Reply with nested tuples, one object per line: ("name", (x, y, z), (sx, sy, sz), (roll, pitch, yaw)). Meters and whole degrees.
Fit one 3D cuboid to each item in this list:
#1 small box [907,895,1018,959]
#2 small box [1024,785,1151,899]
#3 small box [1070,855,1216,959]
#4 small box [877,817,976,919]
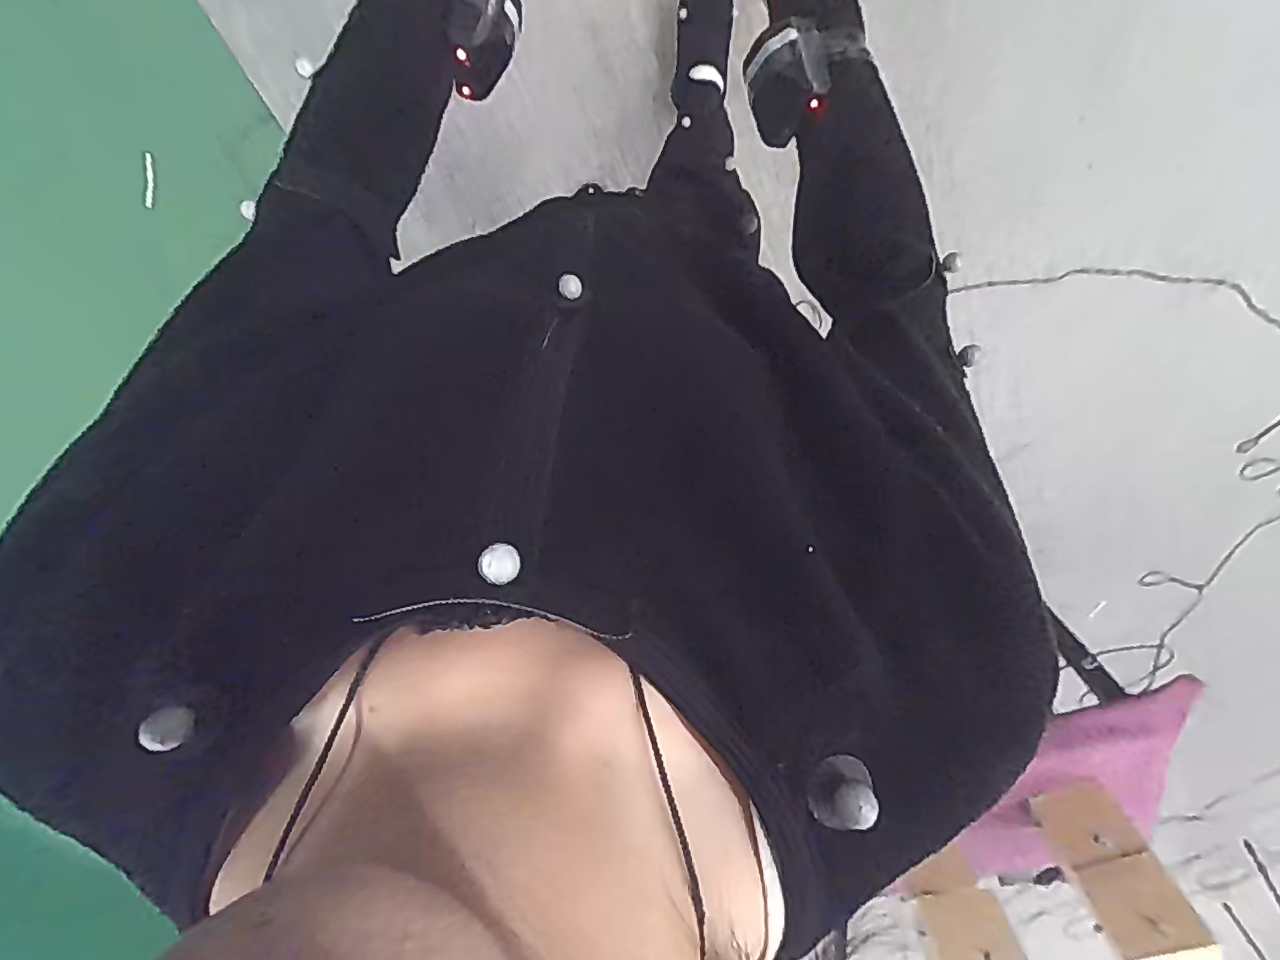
("small box", (0.737, 1.072, 1.227), (0.179, 0.176, 0.168), (-9, 122, 4))
("small box", (1.076, 0.871, 1.308), (0.179, 0.176, 0.168), (-24, 119, 13))
("small box", (1.074, 0.955, 1.170), (0.179, 0.176, 0.168), (-26, 118, 13))
("small box", (0.722, 0.989, 1.369), (0.168, 0.176, 0.179), (-19, 121, 9))
